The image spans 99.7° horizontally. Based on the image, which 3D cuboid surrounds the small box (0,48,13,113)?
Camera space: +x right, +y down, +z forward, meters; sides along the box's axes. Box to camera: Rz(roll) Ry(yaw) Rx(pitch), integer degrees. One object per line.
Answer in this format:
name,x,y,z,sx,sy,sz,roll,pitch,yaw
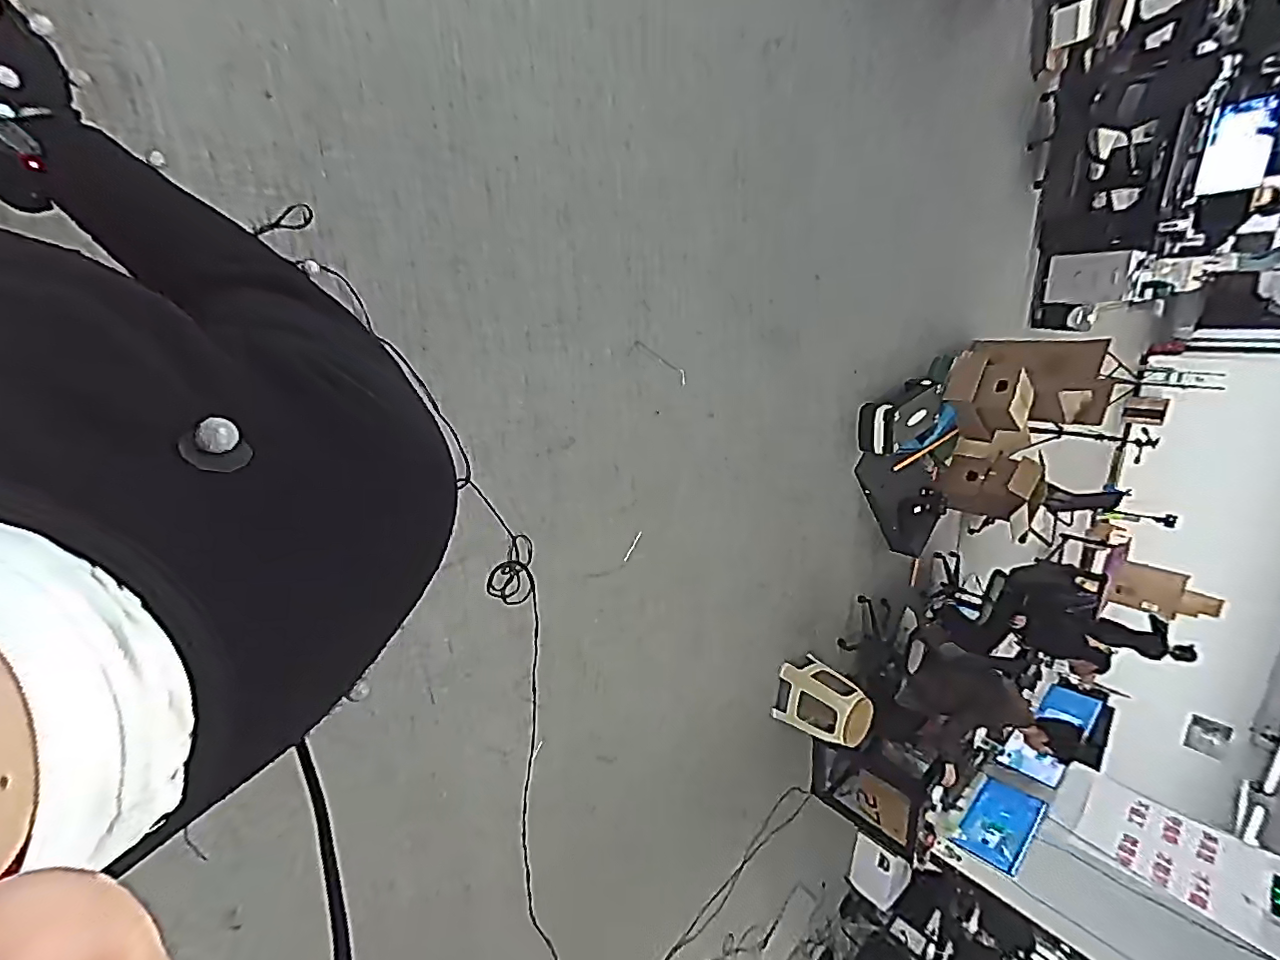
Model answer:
small box,-0.636,-0.402,0.411,0.179,0.176,0.168,-18,111,-37
